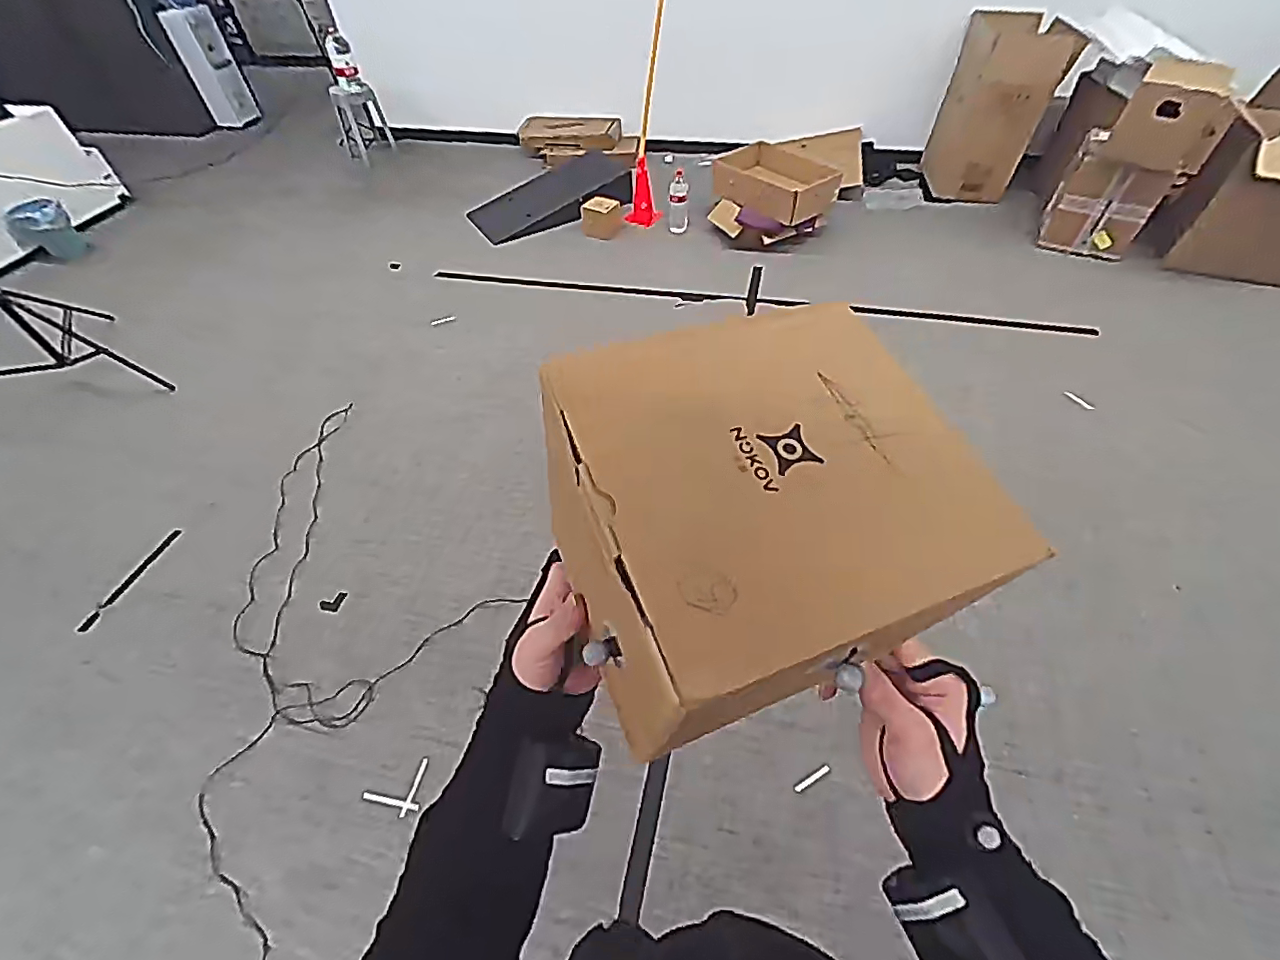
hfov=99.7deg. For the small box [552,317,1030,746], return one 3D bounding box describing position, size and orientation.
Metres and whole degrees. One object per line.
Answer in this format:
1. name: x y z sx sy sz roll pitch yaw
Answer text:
1. small box: 0.057 0.036 0.318 0.179 0.176 0.168 -16 61 -17
